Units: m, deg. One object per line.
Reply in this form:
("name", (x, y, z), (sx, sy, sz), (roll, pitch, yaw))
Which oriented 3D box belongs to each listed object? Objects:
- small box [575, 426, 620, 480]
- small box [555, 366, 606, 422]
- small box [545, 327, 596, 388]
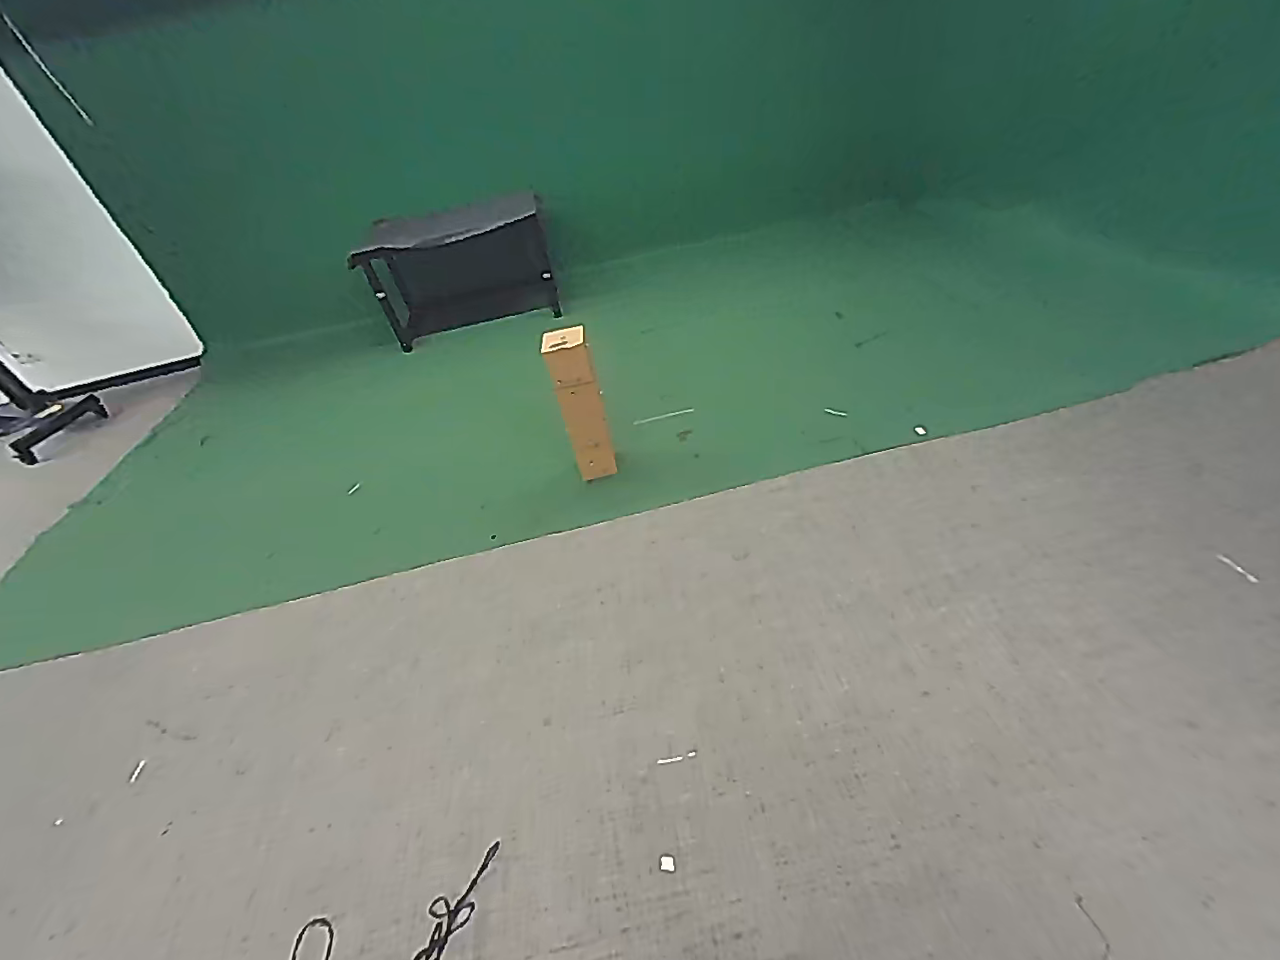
("small box", (-0.192, -0.118, 2.474), (0.168, 0.176, 0.179), (-14, 39, 0))
("small box", (-0.248, -0.363, 2.262), (0.179, 0.176, 0.168), (-12, 40, 2))
("small box", (-0.271, -0.481, 2.149), (0.168, 0.176, 0.179), (-11, 39, 4))
